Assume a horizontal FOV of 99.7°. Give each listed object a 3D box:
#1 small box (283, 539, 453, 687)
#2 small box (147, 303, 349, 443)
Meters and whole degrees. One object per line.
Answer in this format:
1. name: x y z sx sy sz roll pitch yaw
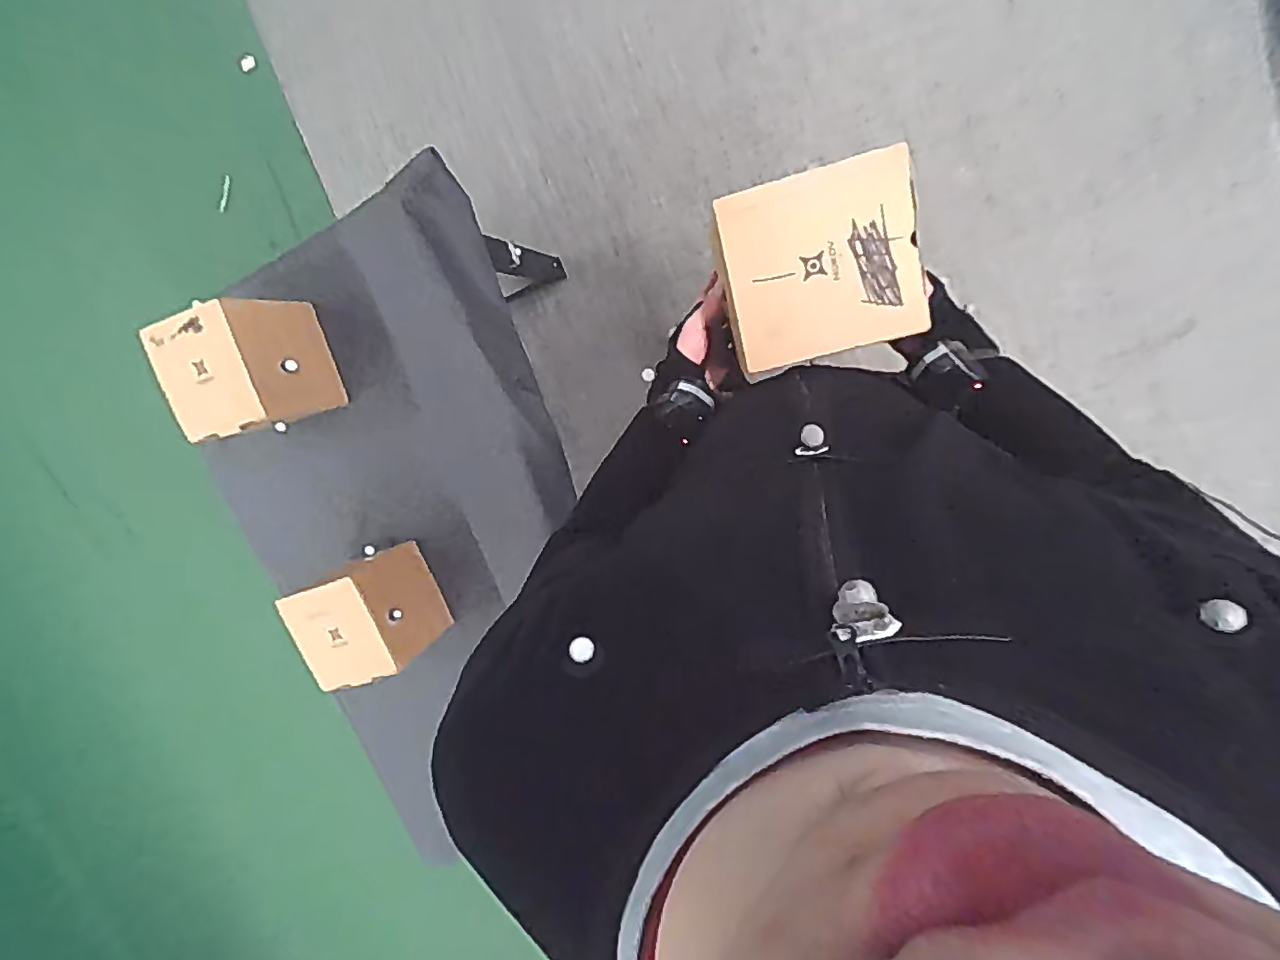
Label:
1. small box: -0.463 0.227 0.950 0.168 0.176 0.179 -19 99 16
2. small box: -0.612 -0.176 0.868 0.168 0.176 0.179 -12 103 16
